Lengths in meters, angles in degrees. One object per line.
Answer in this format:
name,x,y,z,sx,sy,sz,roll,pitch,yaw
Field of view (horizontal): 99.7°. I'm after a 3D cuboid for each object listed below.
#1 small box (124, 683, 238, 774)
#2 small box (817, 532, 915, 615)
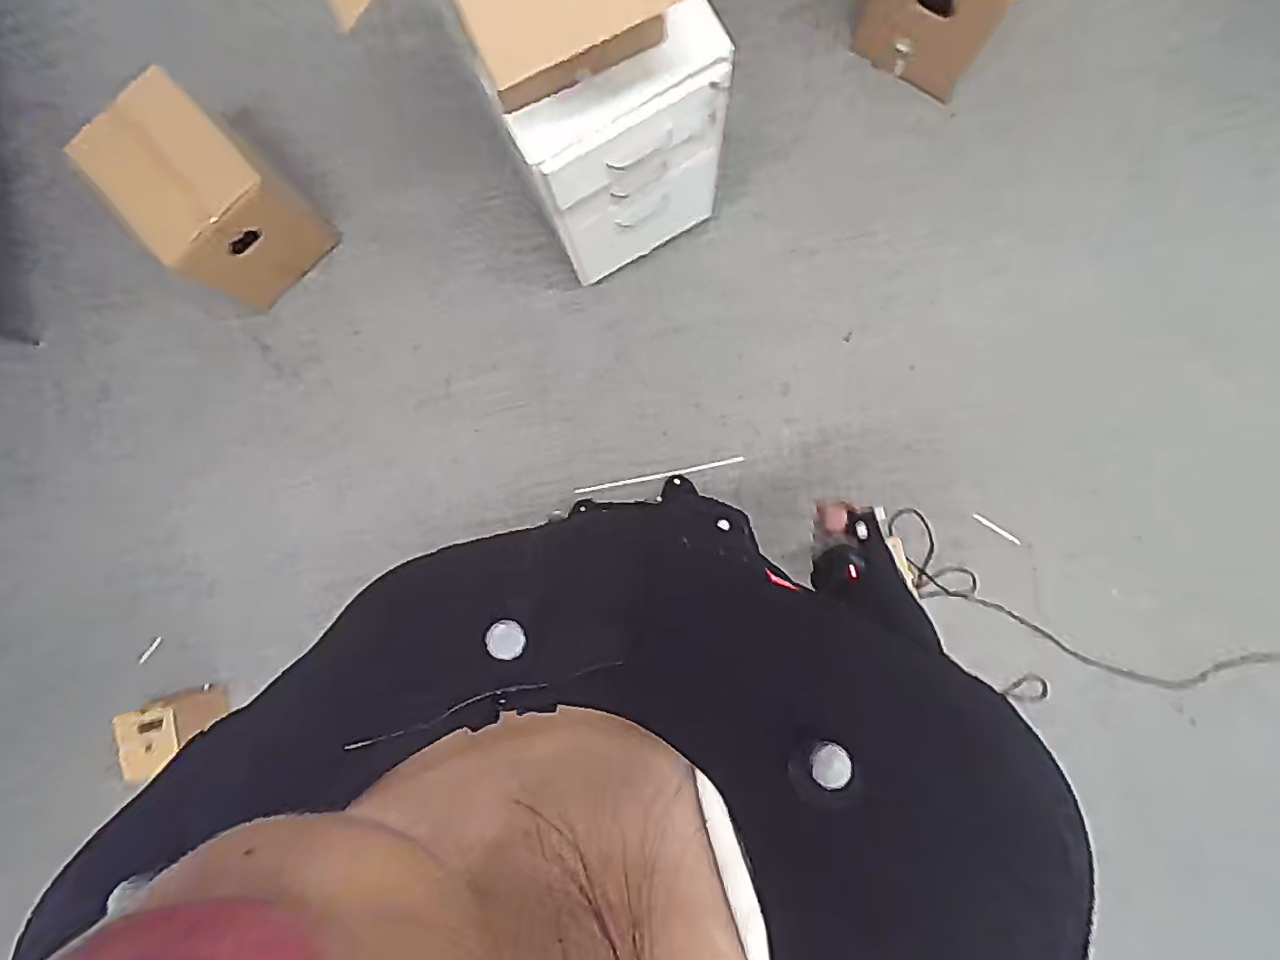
small box,-1.258,0.675,1.492,0.168,0.176,0.179,-10,88,3
small box,0.562,0.233,1.377,0.179,0.176,0.168,-13,88,4
